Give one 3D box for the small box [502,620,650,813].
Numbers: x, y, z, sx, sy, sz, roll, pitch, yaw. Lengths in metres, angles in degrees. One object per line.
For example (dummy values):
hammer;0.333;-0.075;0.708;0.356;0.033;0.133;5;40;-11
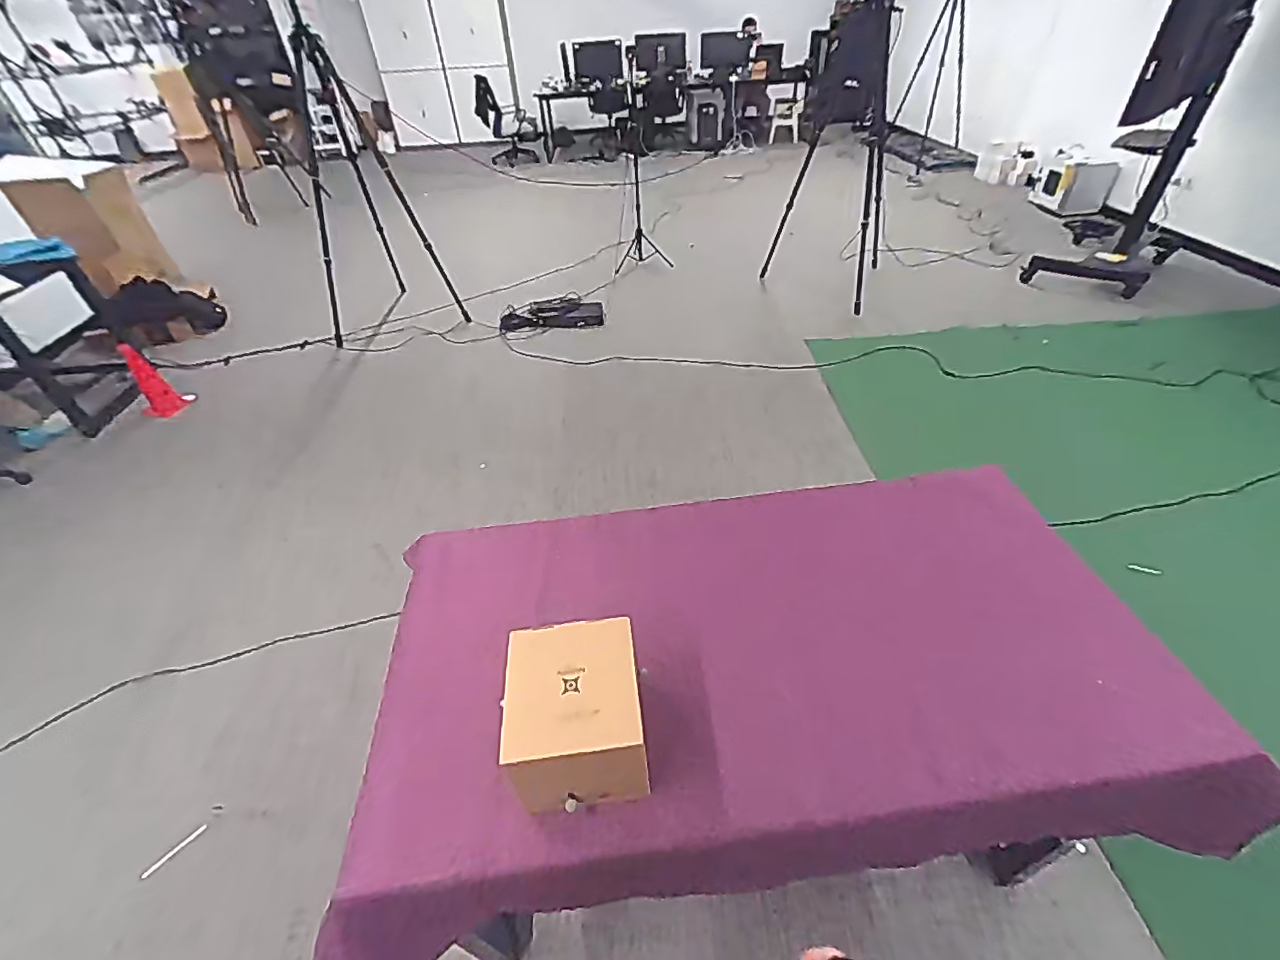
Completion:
small box;-0.078;0.316;0.727;0.168;0.176;0.179;-7;42;-2
